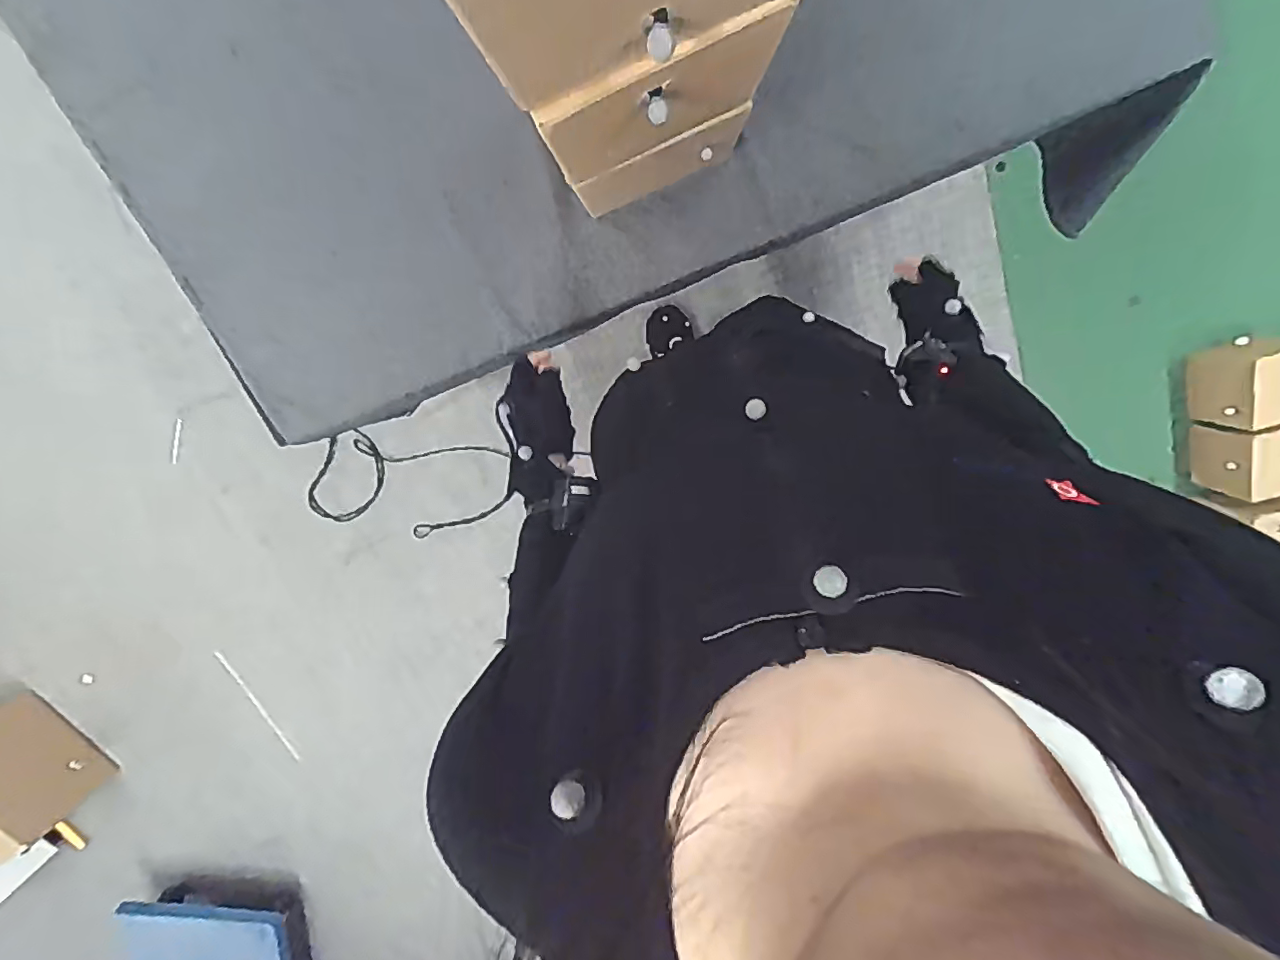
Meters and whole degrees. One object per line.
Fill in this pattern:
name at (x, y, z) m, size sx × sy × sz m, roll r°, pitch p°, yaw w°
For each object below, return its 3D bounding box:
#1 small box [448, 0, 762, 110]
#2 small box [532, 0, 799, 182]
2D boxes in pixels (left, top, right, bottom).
small box at (-0.021, -0.303, 0.231) m, size 0.179 × 0.176 × 0.168 m, roll -19°, pitch 105°, yaw 7°
small box at (-0.012, -0.347, 0.389) m, size 0.179 × 0.176 × 0.168 m, roll -21°, pitch 105°, yaw 8°
